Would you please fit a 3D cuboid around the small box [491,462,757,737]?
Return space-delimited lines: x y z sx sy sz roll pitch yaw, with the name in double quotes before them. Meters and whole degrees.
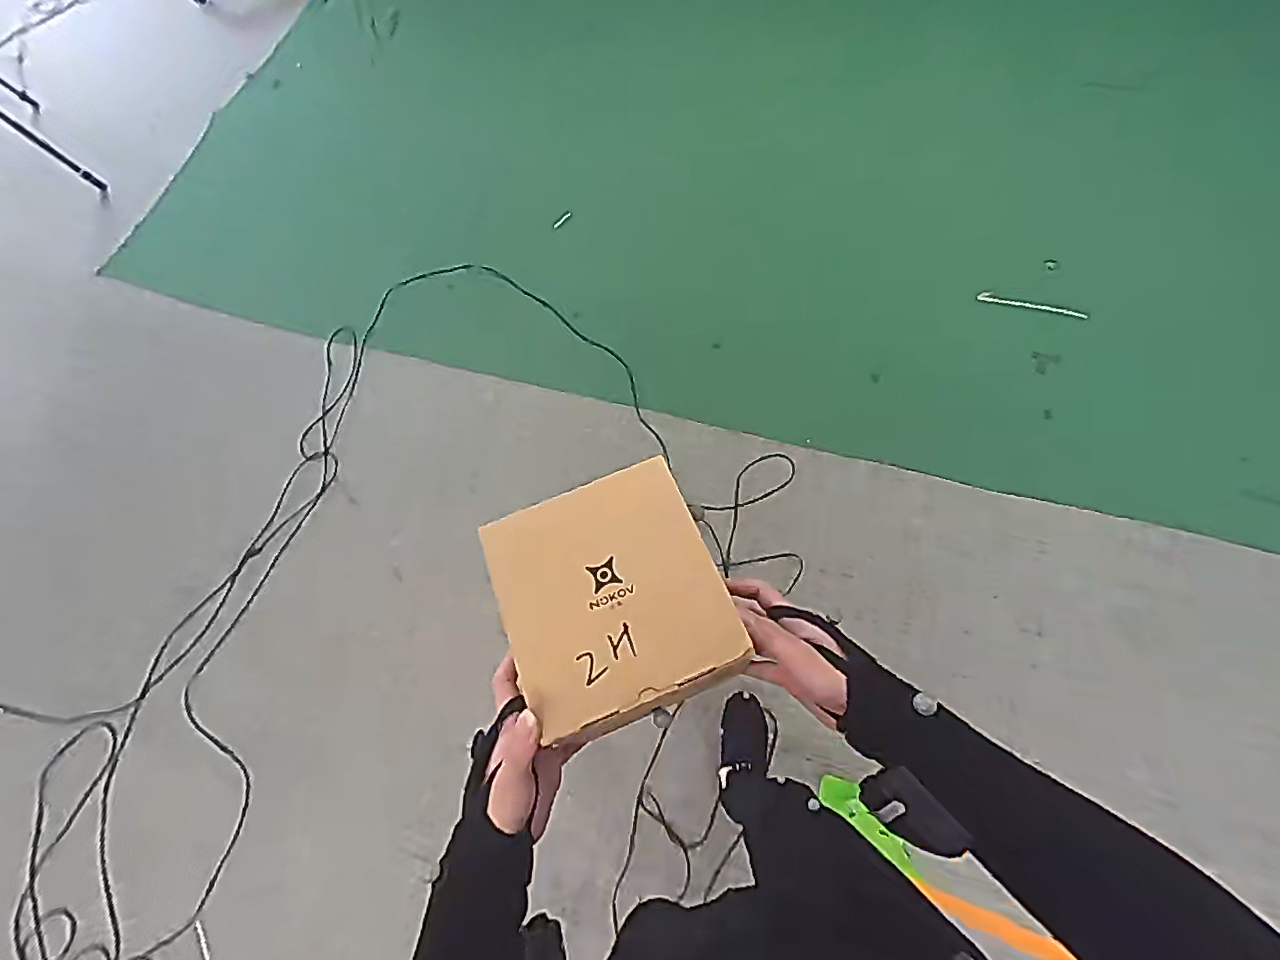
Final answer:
"small box" -0.013 0.116 0.489 0.168 0.176 0.179 -21 65 -4

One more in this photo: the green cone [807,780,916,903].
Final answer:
"green cone" 0.488 0.777 1.110 0.202 0.368 0.200 14 71 12
